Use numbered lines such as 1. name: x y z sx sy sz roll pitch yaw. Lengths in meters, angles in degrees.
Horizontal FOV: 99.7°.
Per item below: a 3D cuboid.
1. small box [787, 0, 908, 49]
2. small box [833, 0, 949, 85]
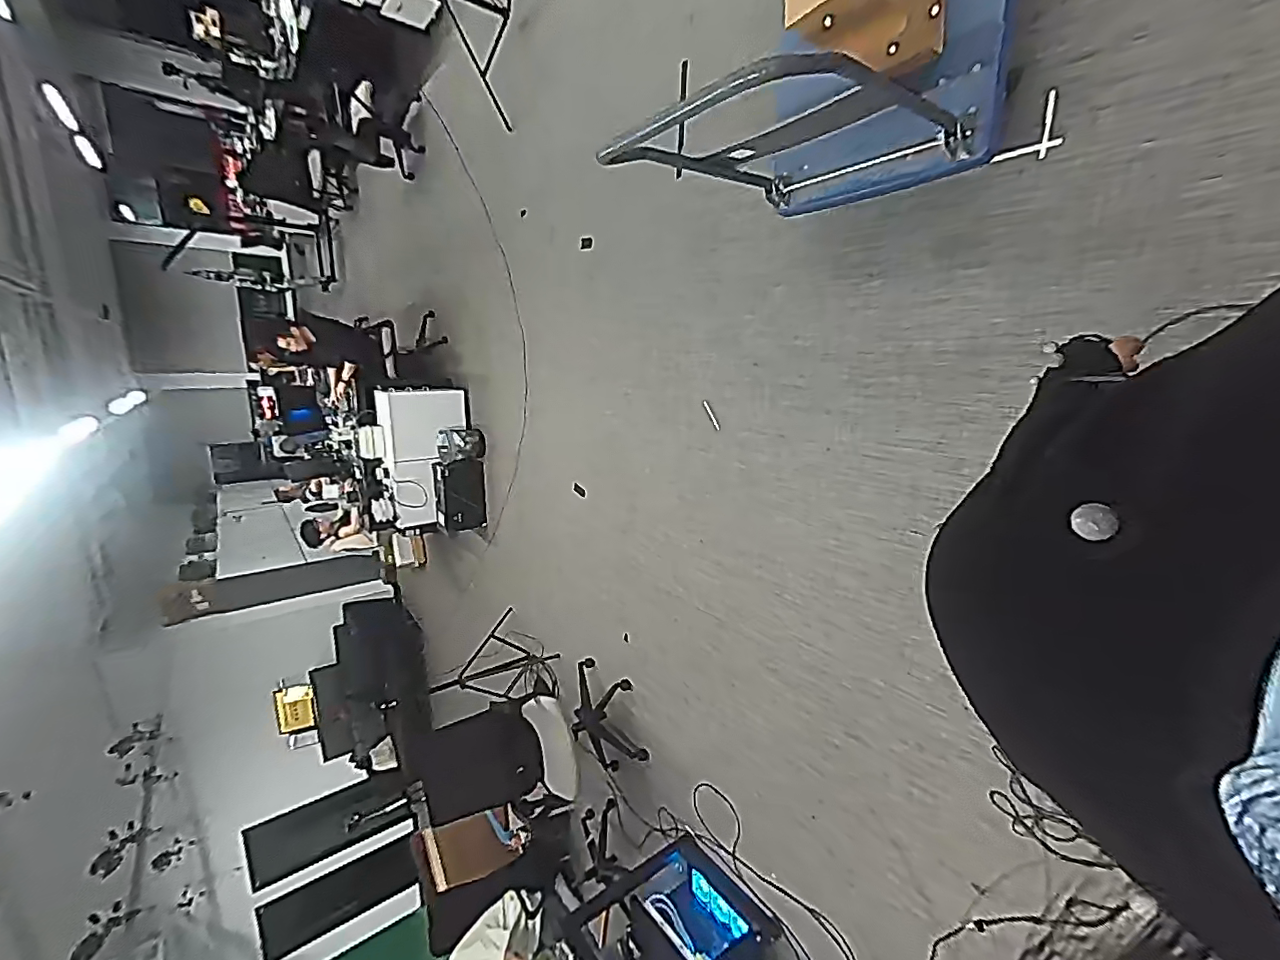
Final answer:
1. small box: 0.421 -1.025 1.093 0.179 0.176 0.168 10 105 52
2. small box: 0.553 -1.019 1.195 0.179 0.176 0.168 10 105 52
